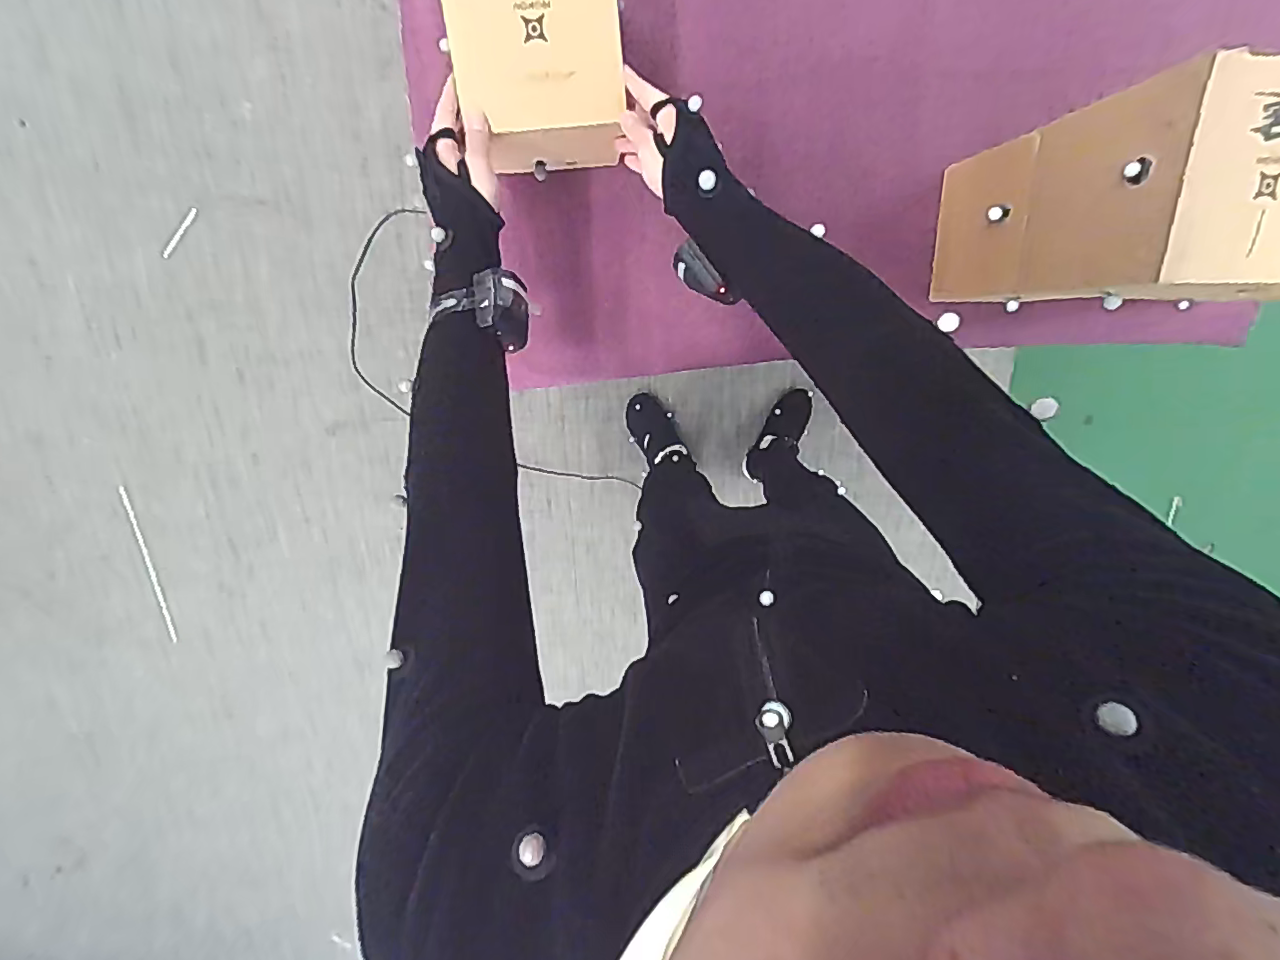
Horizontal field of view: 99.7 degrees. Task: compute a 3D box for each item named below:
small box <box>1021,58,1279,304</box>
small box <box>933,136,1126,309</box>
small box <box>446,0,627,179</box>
[{"bbox_3d":[0.521,-0.271,0.533,0.168,0.176,0.179,-1,106,-5],"label":"small box"},{"bbox_3d":[0.505,-0.313,0.691,0.168,0.176,0.179,-2,105,-5],"label":"small box"},{"bbox_3d":[-0.107,-0.451,0.592,0.168,0.176,0.179,-6,108,-3],"label":"small box"}]
